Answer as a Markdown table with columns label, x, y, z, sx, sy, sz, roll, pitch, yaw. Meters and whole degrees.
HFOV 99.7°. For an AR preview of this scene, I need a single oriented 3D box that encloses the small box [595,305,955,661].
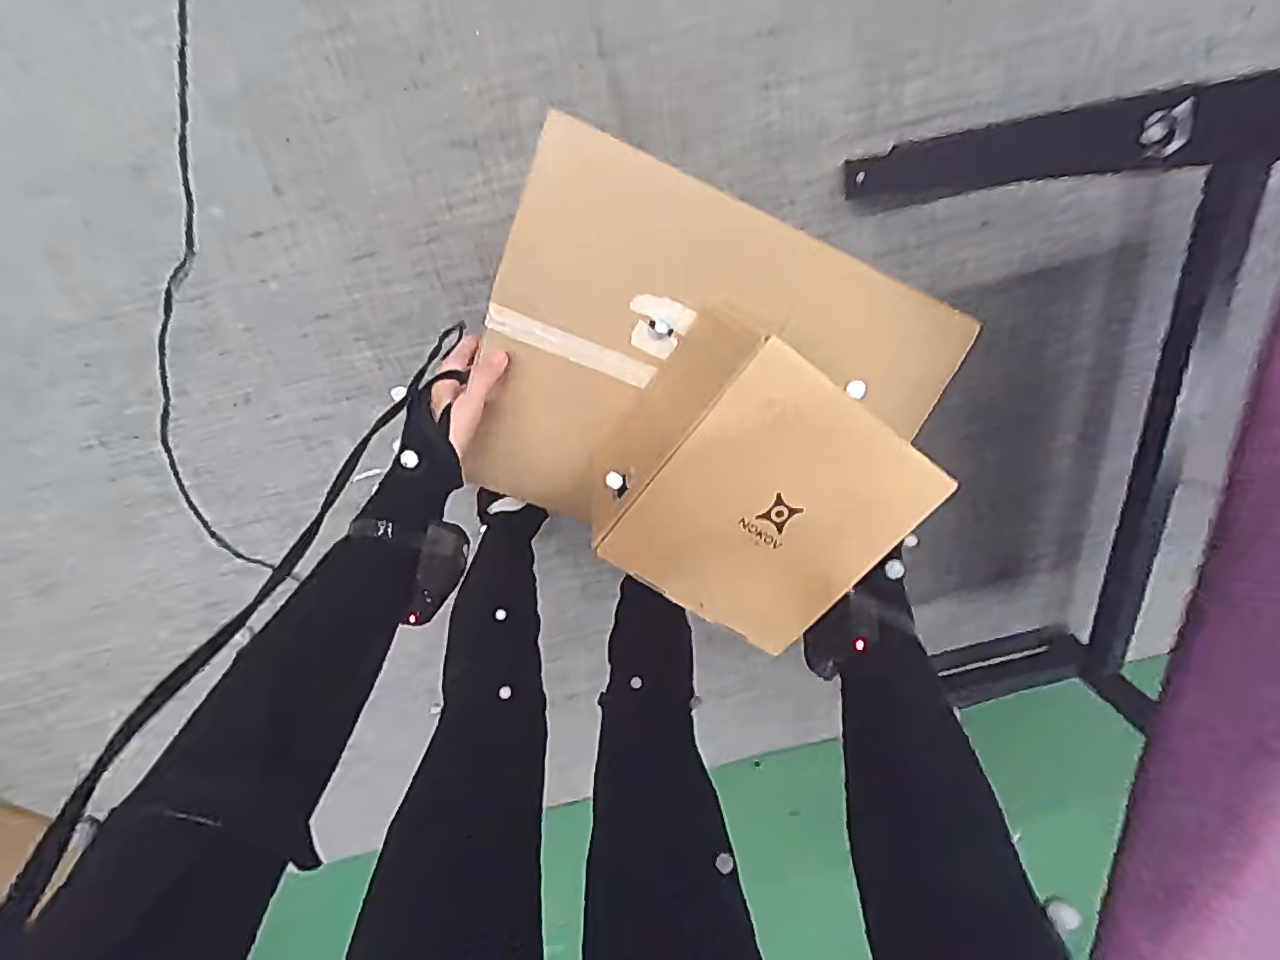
| label | x | y | z | sx | sy | sz | roll | pitch | yaw |
| --- | --- | --- | --- | --- | --- | --- | --- | --- | --- |
| small box | 0.078 | -0.009 | 0.410 | 0.168 | 0.176 | 0.179 | 33 | 109 | -17 |
